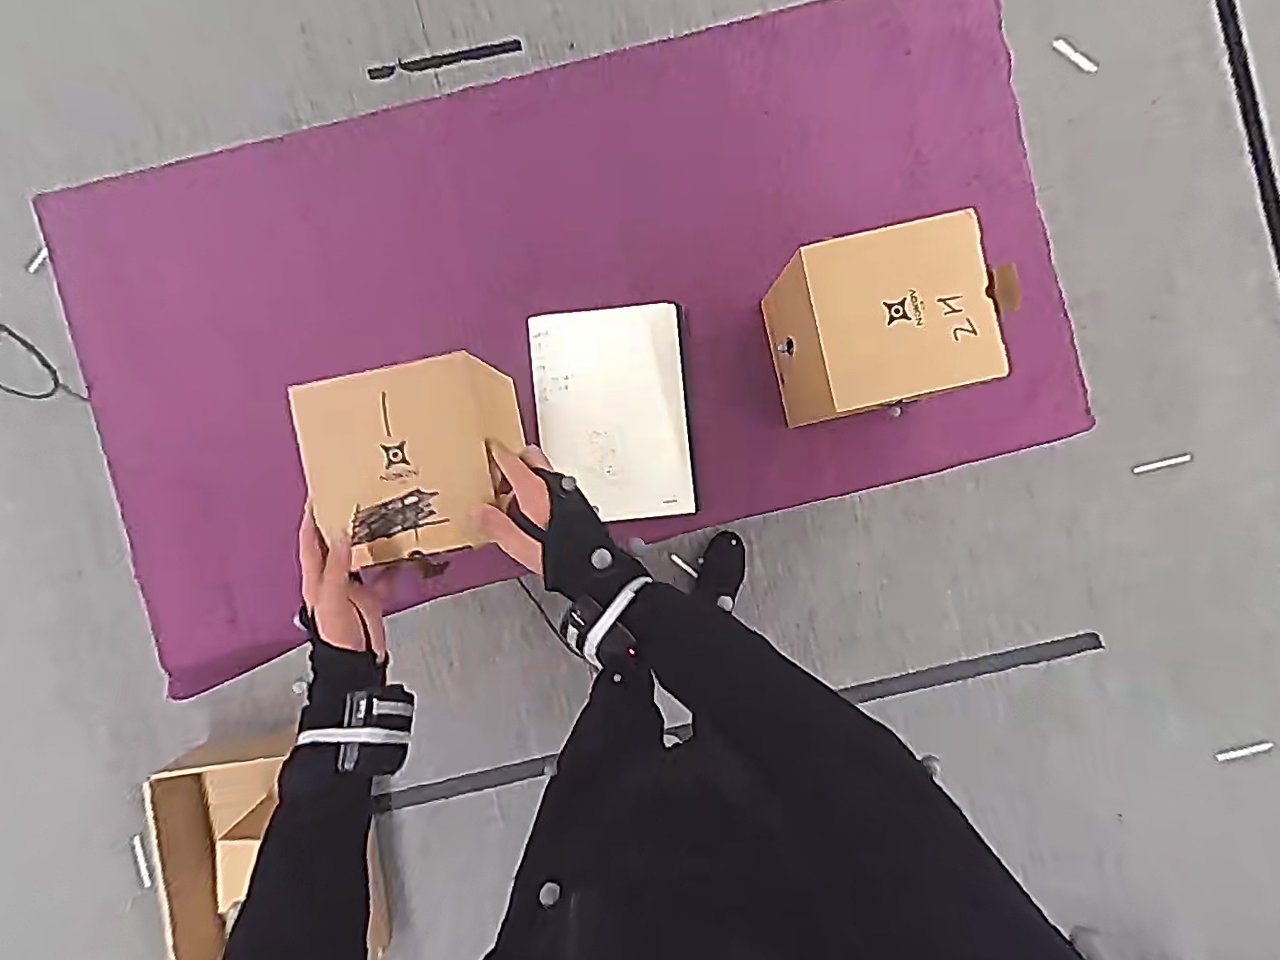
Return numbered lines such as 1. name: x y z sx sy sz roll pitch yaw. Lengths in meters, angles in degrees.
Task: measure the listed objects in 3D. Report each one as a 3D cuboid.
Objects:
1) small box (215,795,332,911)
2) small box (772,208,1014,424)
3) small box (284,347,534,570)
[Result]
1. small box: -0.859 0.877 1.283 0.179 0.176 0.168 0 91 -1
2. small box: 0.254 -0.161 0.591 0.179 0.176 0.168 -12 91 0
3. small box: -0.217 -0.021 0.557 0.168 0.176 0.179 -11 91 1
